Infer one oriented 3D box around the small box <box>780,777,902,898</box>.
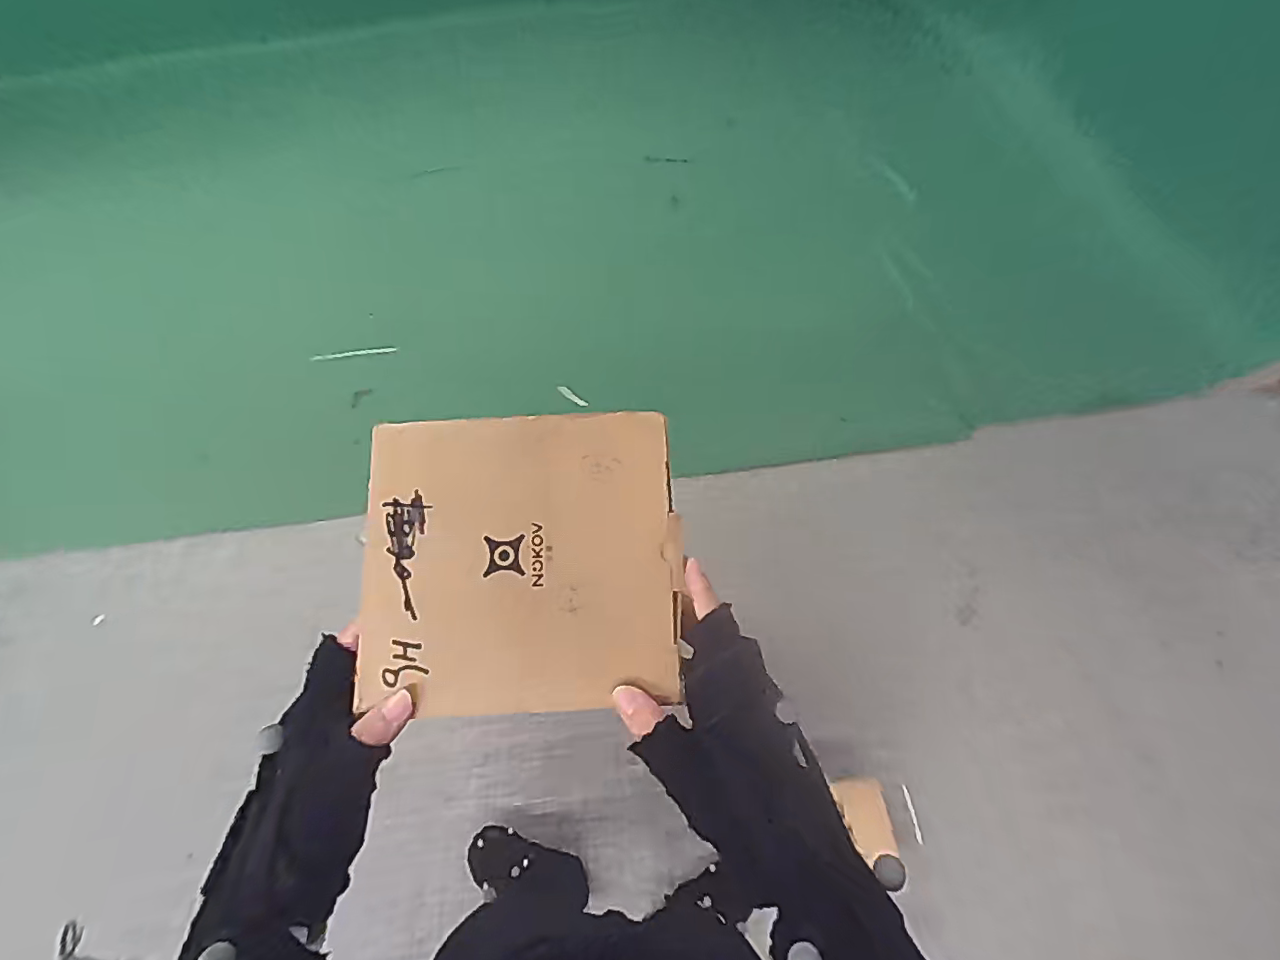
[{"bbox_3d":[0.389,0.702,1.079,0.168,0.176,0.179,-8,61,0],"label":"small box"}]
